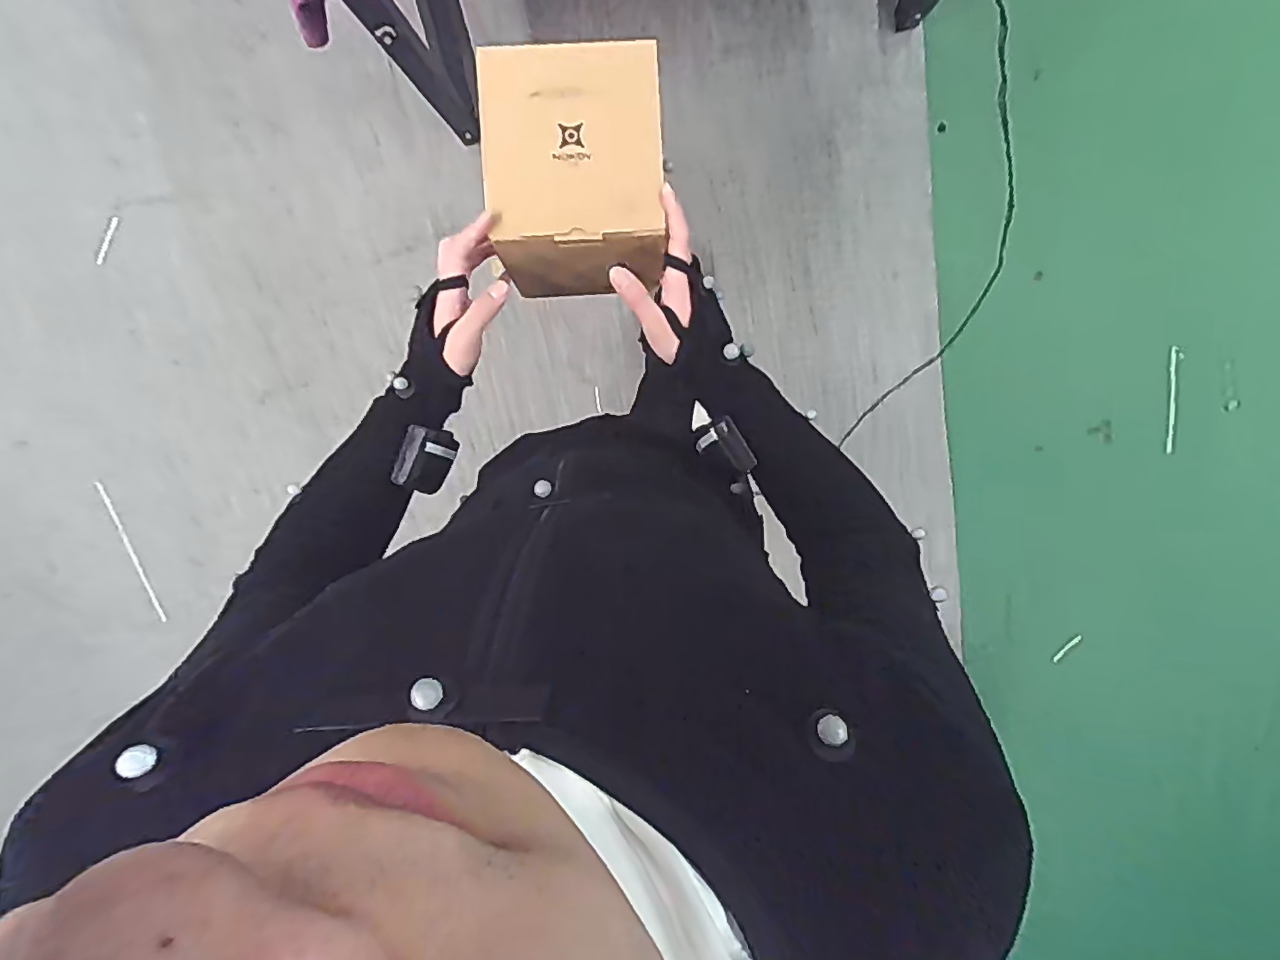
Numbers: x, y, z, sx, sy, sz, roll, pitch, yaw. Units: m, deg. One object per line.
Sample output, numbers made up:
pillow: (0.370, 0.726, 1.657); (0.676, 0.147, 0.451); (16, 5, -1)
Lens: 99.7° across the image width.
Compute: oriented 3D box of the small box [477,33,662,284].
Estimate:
small box: (-0.064, -0.316, 0.570); (0.168, 0.176, 0.179); (-3, 91, -1)
